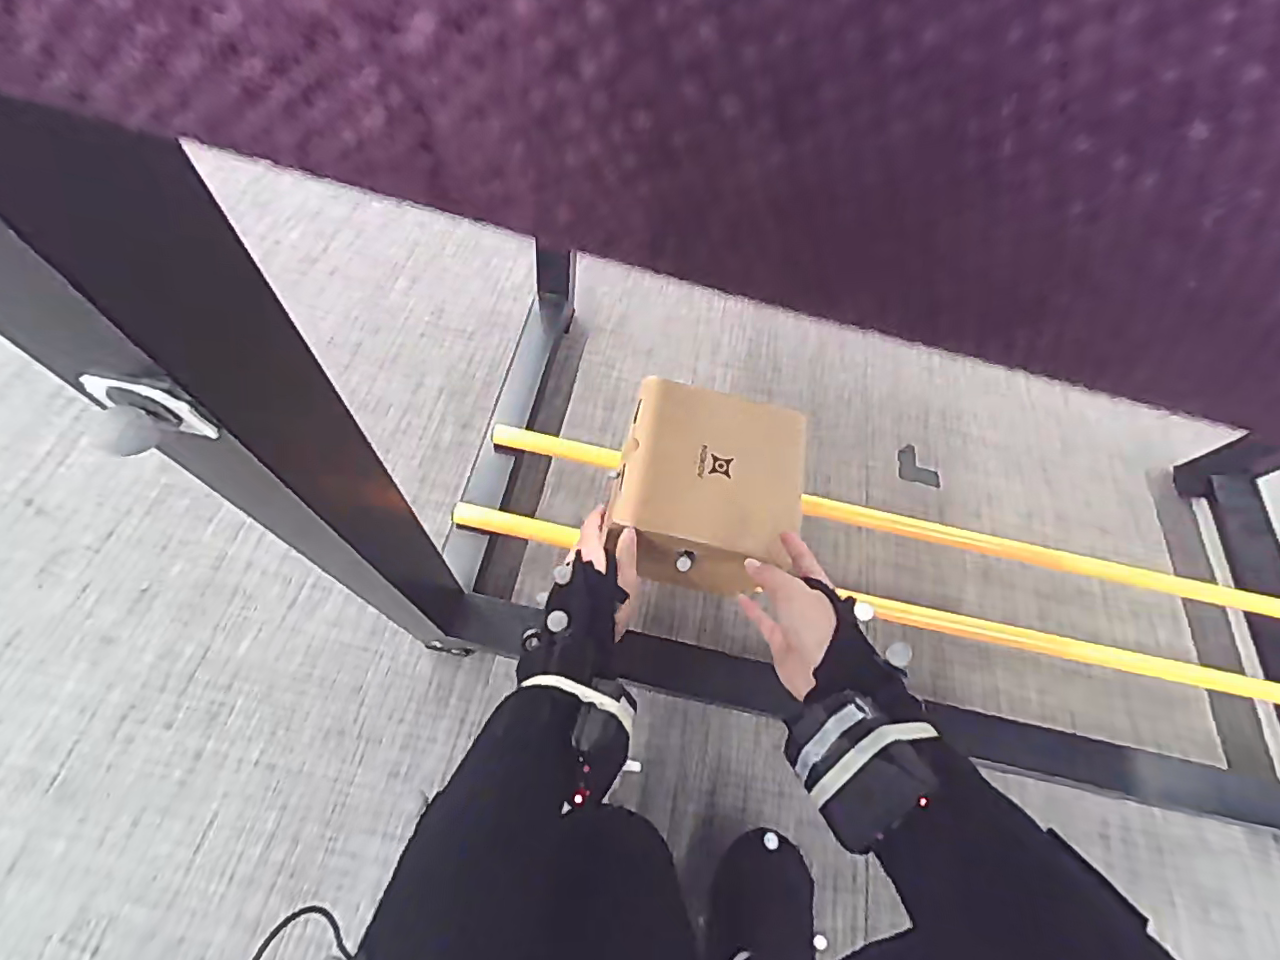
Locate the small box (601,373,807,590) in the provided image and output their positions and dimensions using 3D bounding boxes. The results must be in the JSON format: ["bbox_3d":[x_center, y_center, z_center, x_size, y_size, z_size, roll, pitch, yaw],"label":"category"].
[{"bbox_3d":[0.062,0.014,0.593,0.179,0.176,0.168,13,65,-3],"label":"small box"}]
